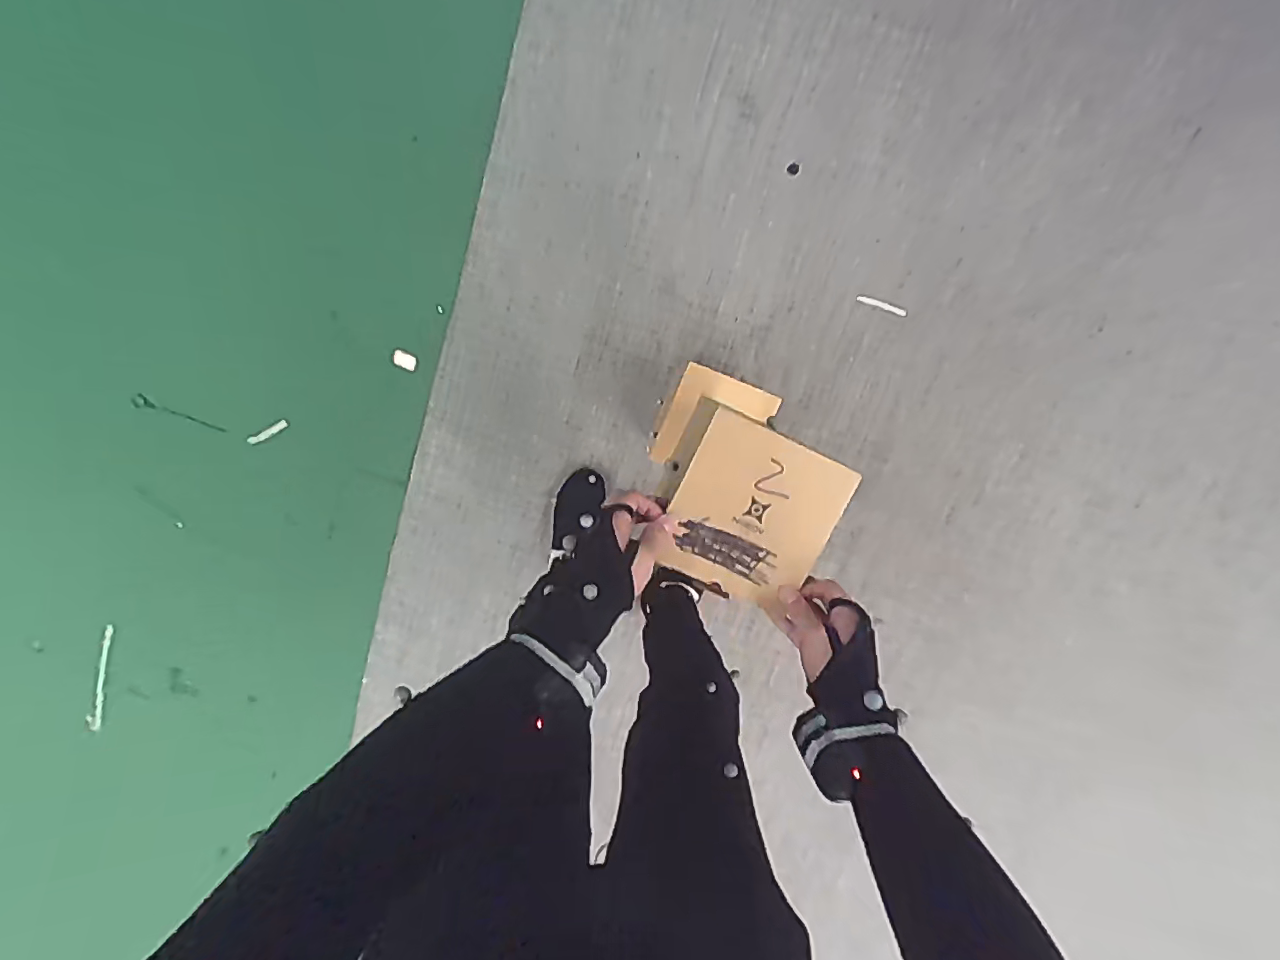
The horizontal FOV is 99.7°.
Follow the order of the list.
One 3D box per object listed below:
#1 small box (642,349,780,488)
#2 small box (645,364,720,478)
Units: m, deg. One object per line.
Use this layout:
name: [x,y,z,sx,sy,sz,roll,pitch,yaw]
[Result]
small box: [0.121,-0.113,0.969,0.168,0.176,0.179,-35,98,10]
small box: [0.121,-0.127,1.124,0.168,0.176,0.179,23,101,-3]
